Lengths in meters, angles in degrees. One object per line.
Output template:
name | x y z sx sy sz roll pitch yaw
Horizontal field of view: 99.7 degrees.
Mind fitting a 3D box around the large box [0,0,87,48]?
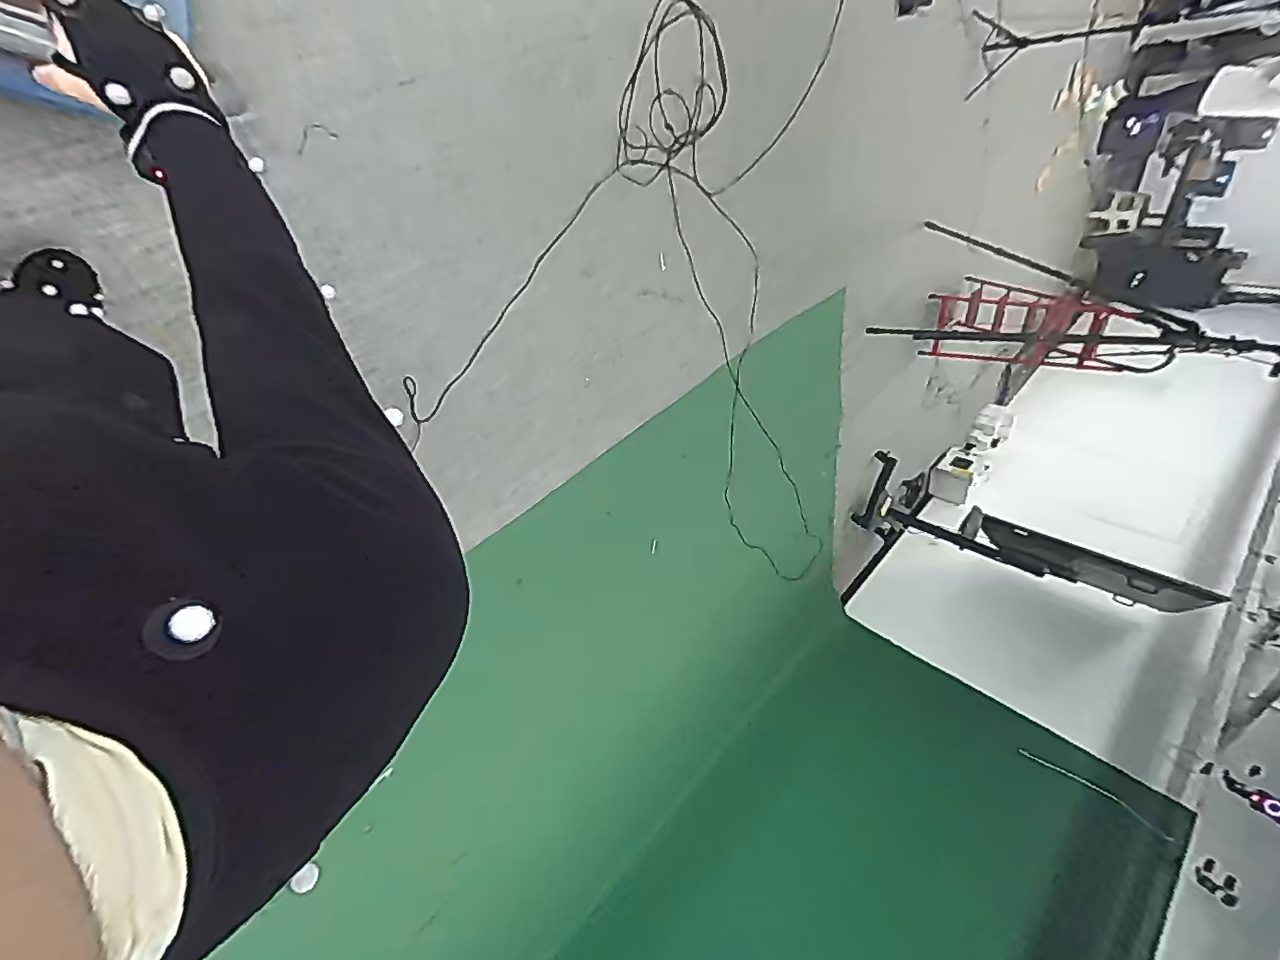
large box | -0.892 -0.833 0.634 0.320 0.320 0.408 -6 114 -45
